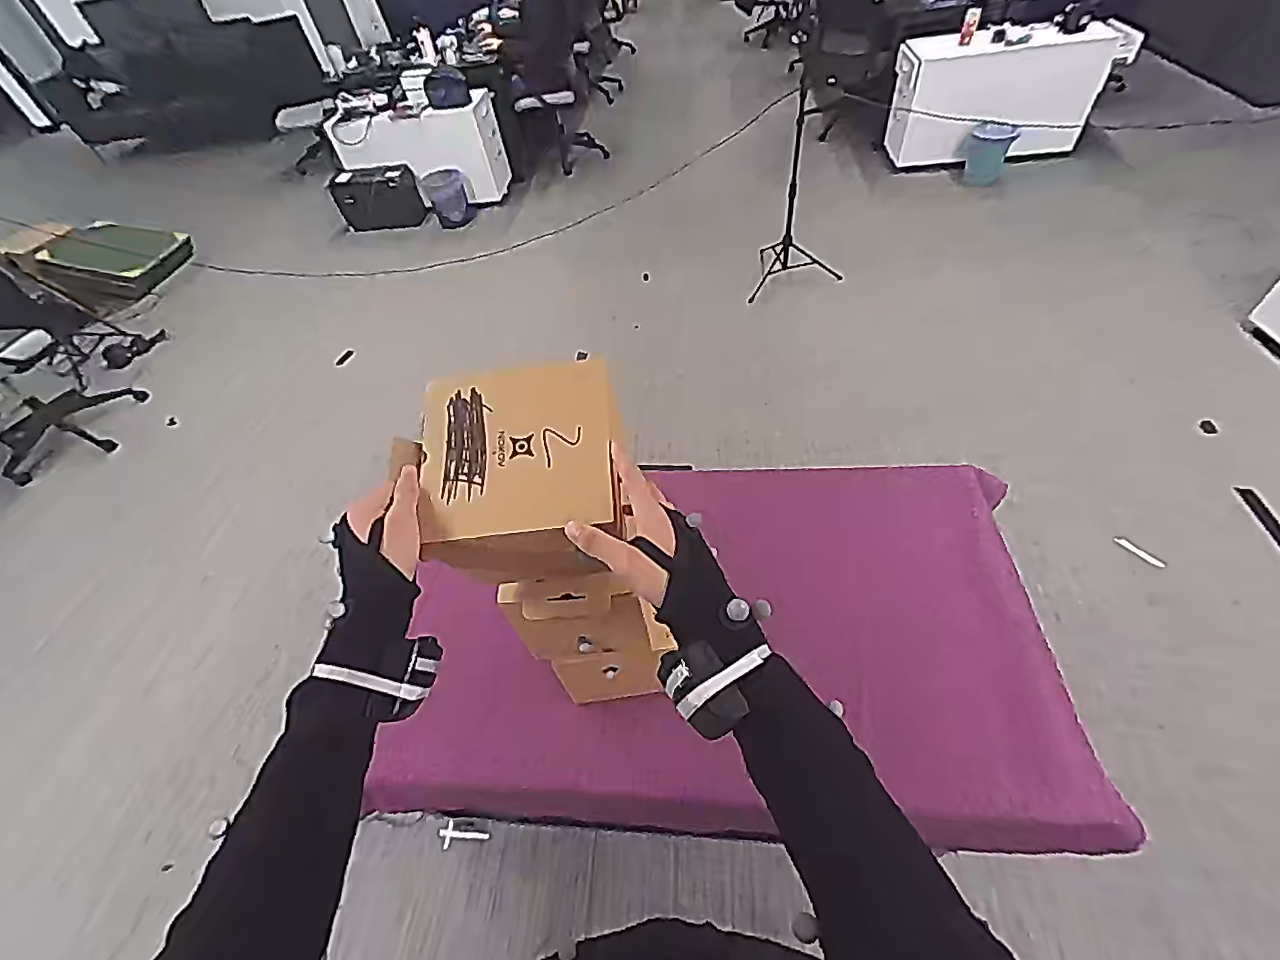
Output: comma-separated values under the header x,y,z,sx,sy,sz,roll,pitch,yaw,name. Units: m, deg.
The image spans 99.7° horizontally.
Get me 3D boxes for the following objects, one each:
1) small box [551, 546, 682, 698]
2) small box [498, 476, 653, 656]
x,y,z,sx,sy,sz,roll,pitch,yaw,name
-0.034,0.226,0.845,0.179,0.176,0.168,-8,50,1,small box
-0.074,0.117,0.725,0.168,0.176,0.179,-5,50,5,small box
